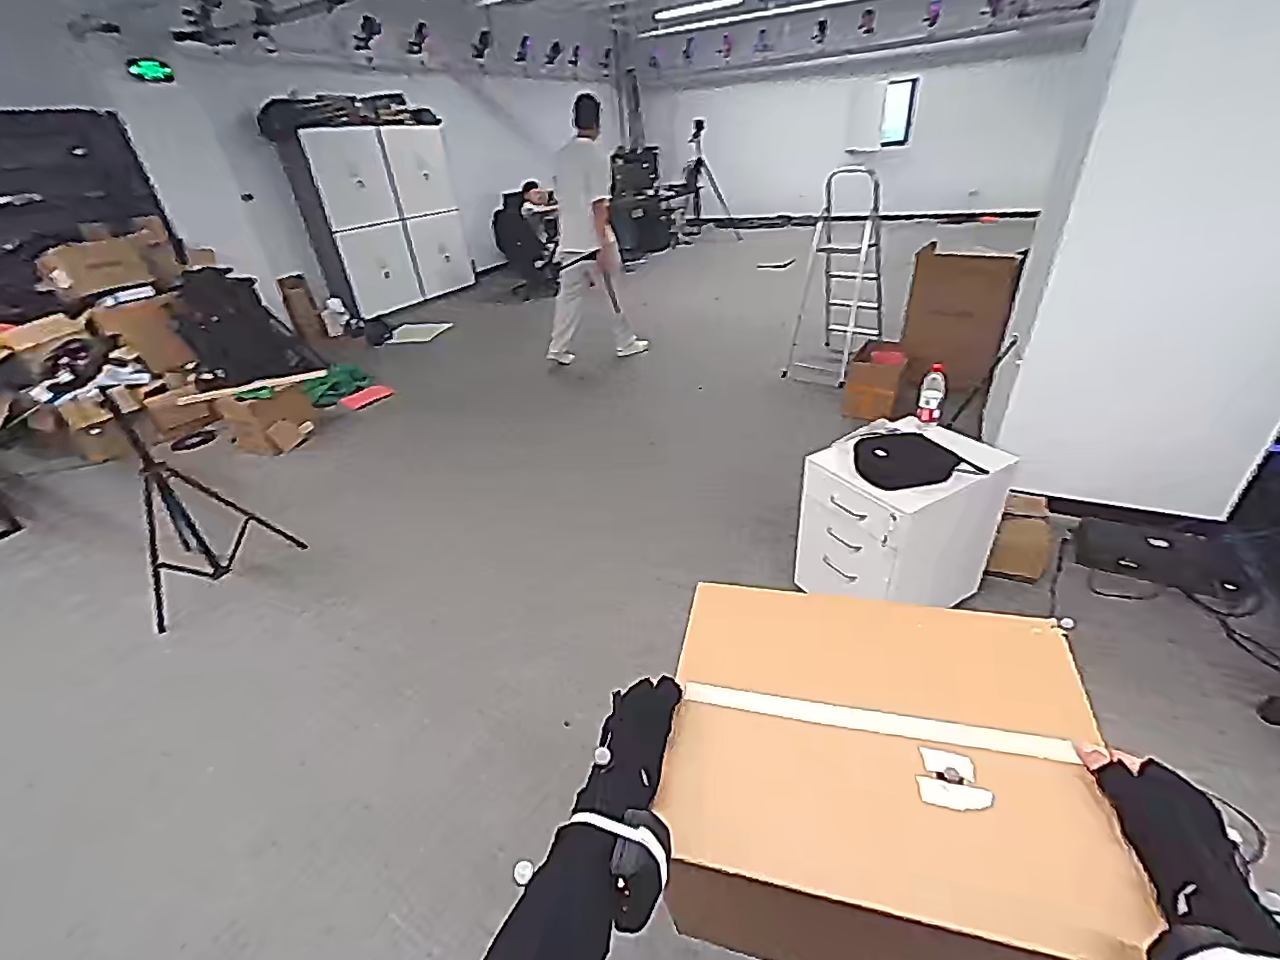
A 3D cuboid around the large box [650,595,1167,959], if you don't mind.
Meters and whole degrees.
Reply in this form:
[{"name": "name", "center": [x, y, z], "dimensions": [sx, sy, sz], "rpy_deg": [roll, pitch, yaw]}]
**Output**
[{"name": "large box", "center": [0.251, 0.370, 0.647], "dimensions": [0.408, 0.320, 0.320], "rpy_deg": [2, 40, 16]}]
